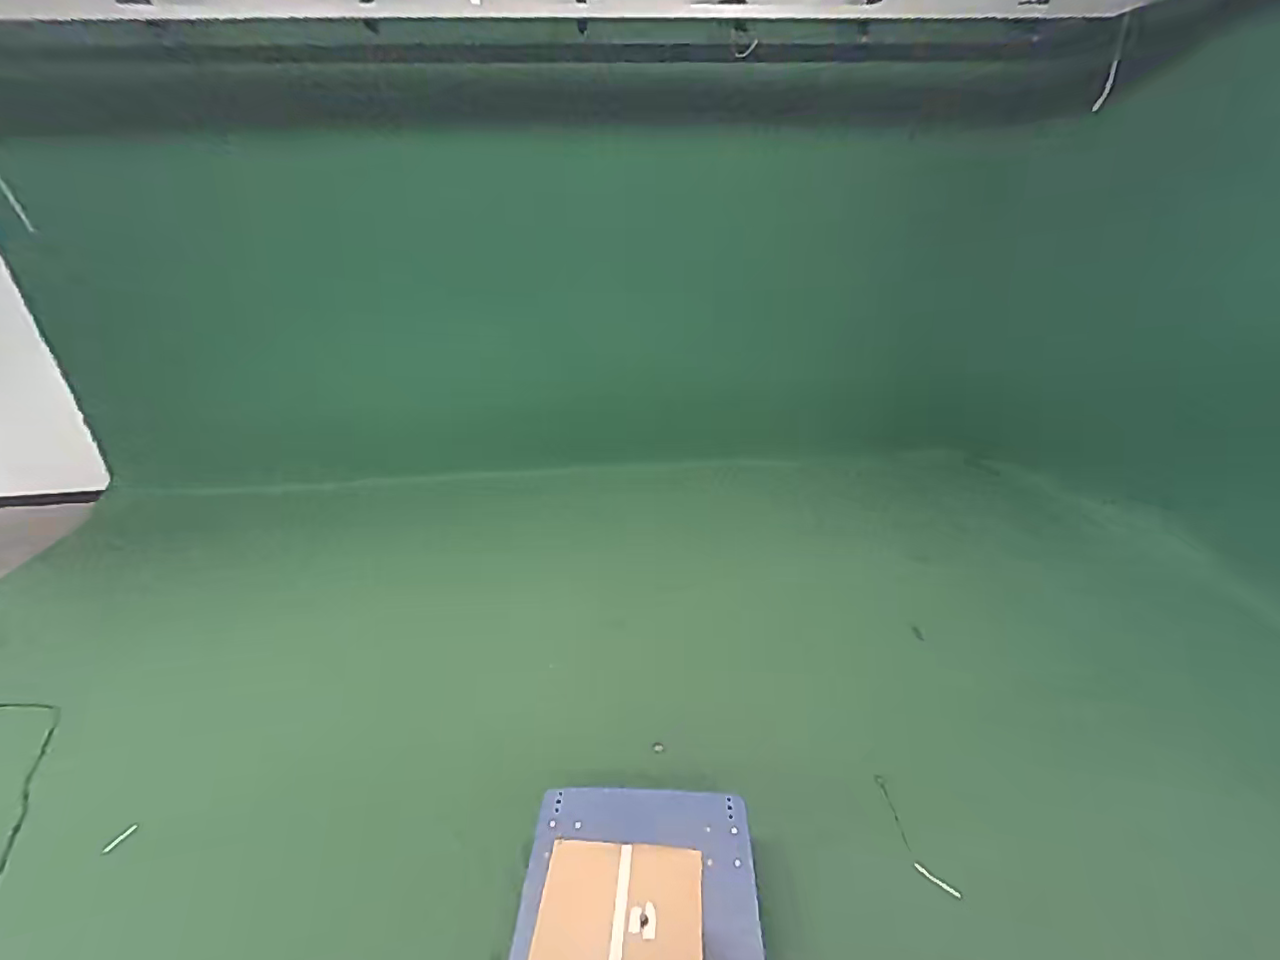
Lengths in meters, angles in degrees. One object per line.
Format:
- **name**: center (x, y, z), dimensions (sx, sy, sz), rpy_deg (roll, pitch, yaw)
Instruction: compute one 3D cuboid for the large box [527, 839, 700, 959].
- **large box**: center (-0.045, 0.990, 1.026), dimensions (0.320, 0.320, 0.408), rpy_deg (2, 26, 5)
